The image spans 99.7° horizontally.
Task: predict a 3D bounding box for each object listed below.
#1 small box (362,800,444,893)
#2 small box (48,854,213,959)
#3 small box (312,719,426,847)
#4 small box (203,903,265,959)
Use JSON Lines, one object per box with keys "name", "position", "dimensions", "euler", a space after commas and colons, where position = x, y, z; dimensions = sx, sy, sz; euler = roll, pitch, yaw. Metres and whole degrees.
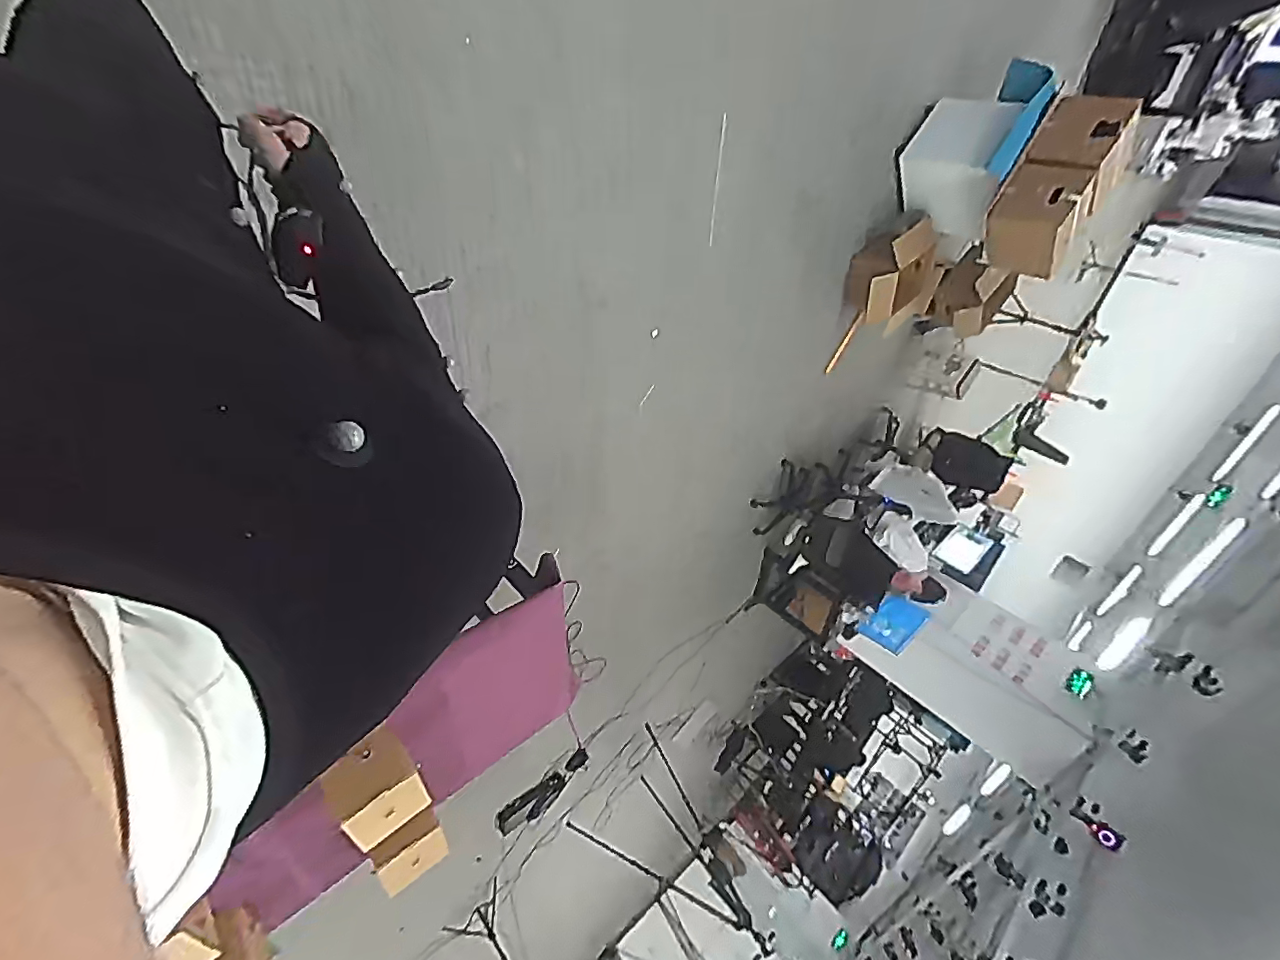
{"name": "small box", "position": [-0.649, 0.938, 1.445], "dimensions": [0.168, 0.176, 0.179], "euler": [-24, 135, -36]}
{"name": "small box", "position": [-0.946, 0.852, 1.012], "dimensions": [0.168, 0.176, 0.179], "euler": [-29, 139, -35]}
{"name": "small box", "position": [-0.631, 0.701, 1.265], "dimensions": [0.168, 0.176, 0.179], "euler": [-29, 138, -32]}
{"name": "small box", "position": [-0.962, 1.101, 1.206], "dimensions": [0.168, 0.176, 0.179], "euler": [-26, 134, -35]}
